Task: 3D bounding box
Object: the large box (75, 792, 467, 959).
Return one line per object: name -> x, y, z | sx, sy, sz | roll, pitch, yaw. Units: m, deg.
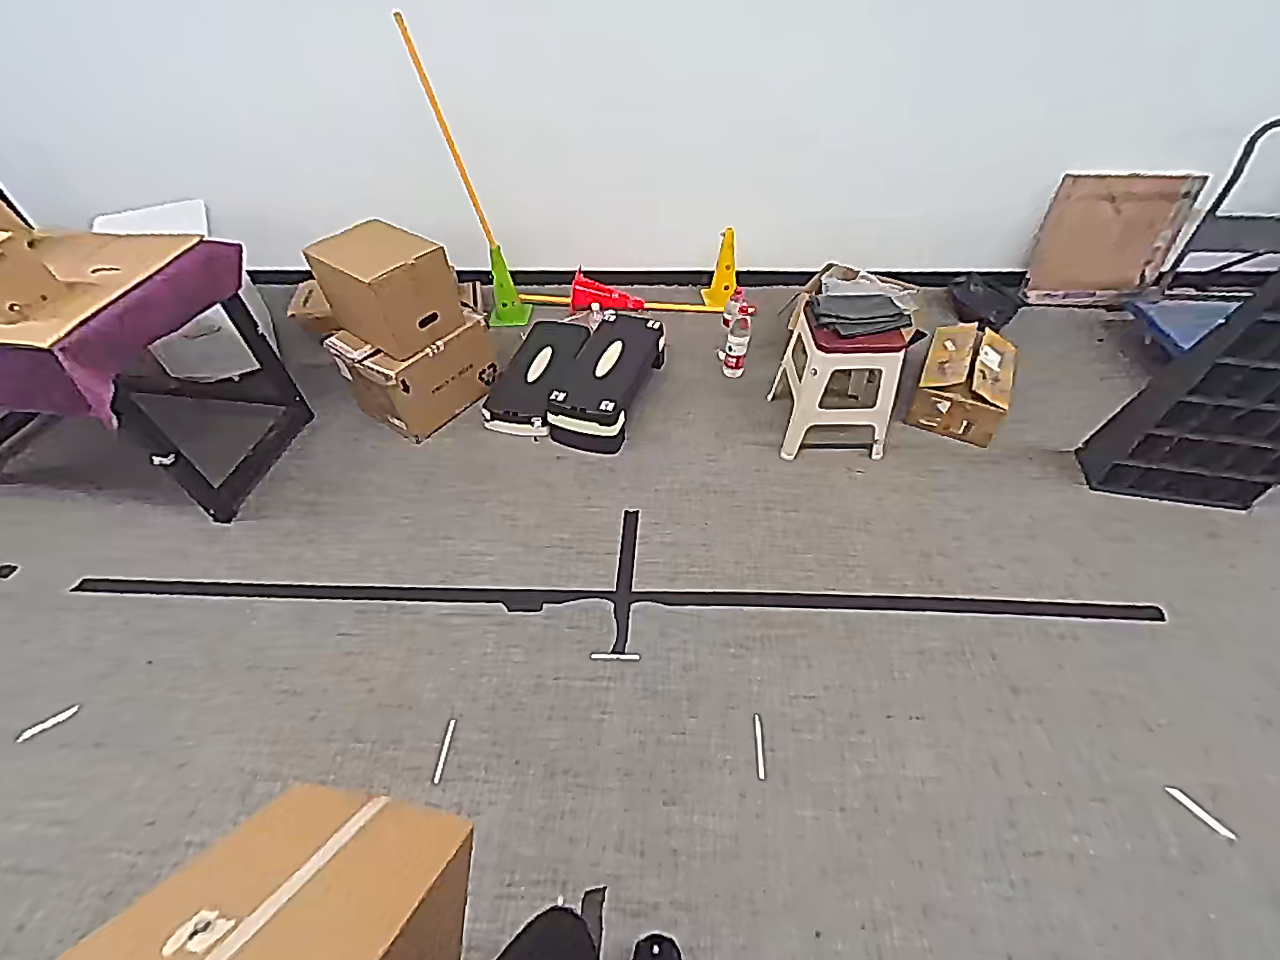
large box -> -0.463, 0.685, 0.680 | 0.320, 0.408, 0.320 | 6, 92, 9
